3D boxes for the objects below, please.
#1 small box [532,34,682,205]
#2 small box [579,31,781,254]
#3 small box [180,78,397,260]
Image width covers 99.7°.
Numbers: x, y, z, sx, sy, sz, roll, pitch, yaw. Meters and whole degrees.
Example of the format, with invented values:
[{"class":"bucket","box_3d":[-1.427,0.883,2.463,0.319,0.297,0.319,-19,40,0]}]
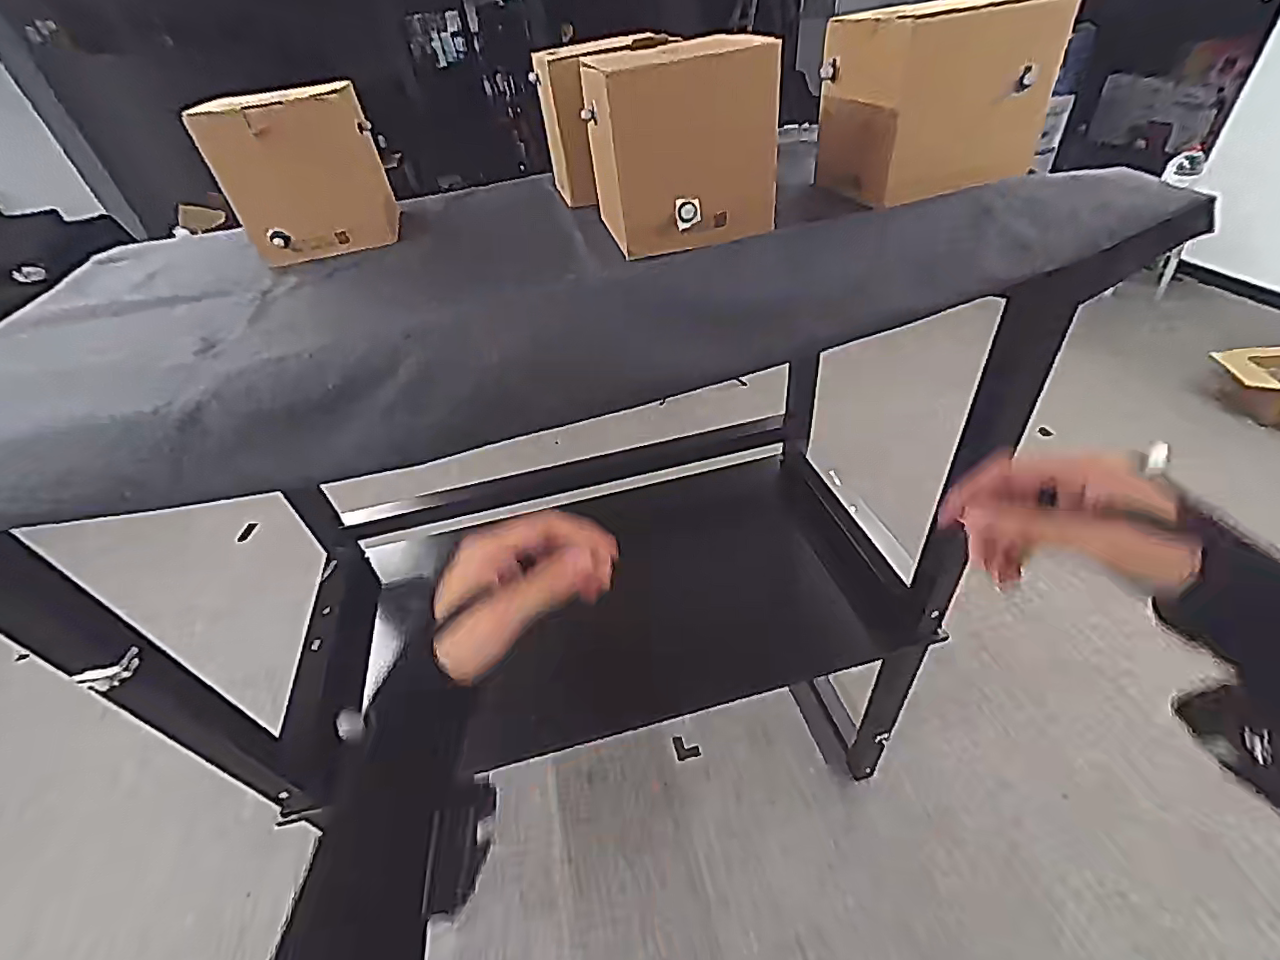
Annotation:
[{"class":"small box","box_3d":[-0.042,-0.505,0.757,0.179,0.176,0.168,-14,41,-7]},{"class":"small box","box_3d":[0.037,-0.361,0.581,0.168,0.176,0.179,-13,41,-4]},{"class":"small box","box_3d":[-0.433,-0.402,0.704,0.168,0.176,0.179,-16,42,-9]}]
